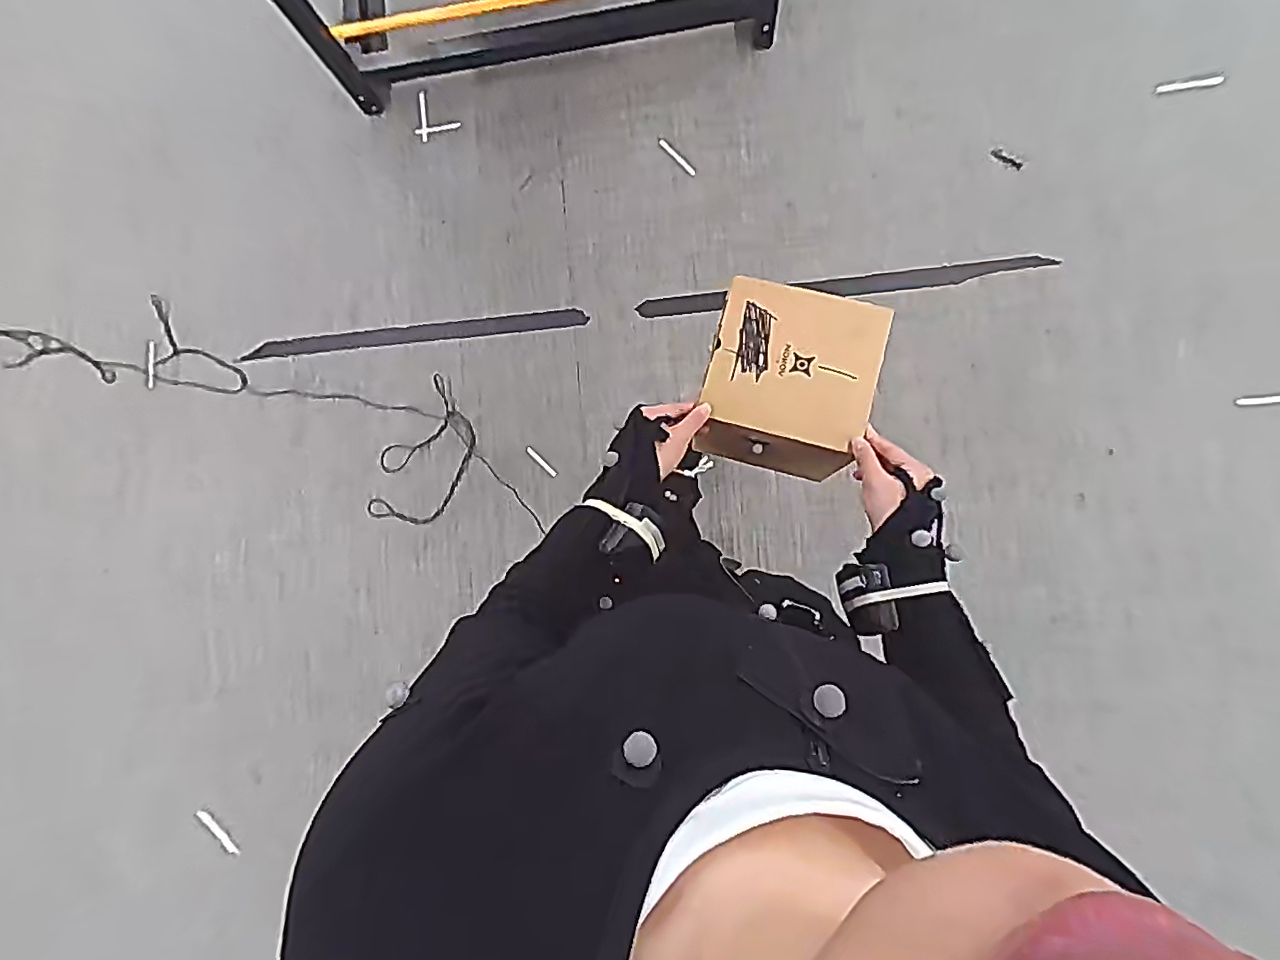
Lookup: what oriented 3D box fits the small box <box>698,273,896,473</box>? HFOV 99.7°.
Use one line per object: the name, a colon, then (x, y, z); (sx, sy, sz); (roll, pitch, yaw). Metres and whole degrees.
small box: (0.172, -0.115, 0.647); (0.179, 0.176, 0.168); (15, 82, 7)
